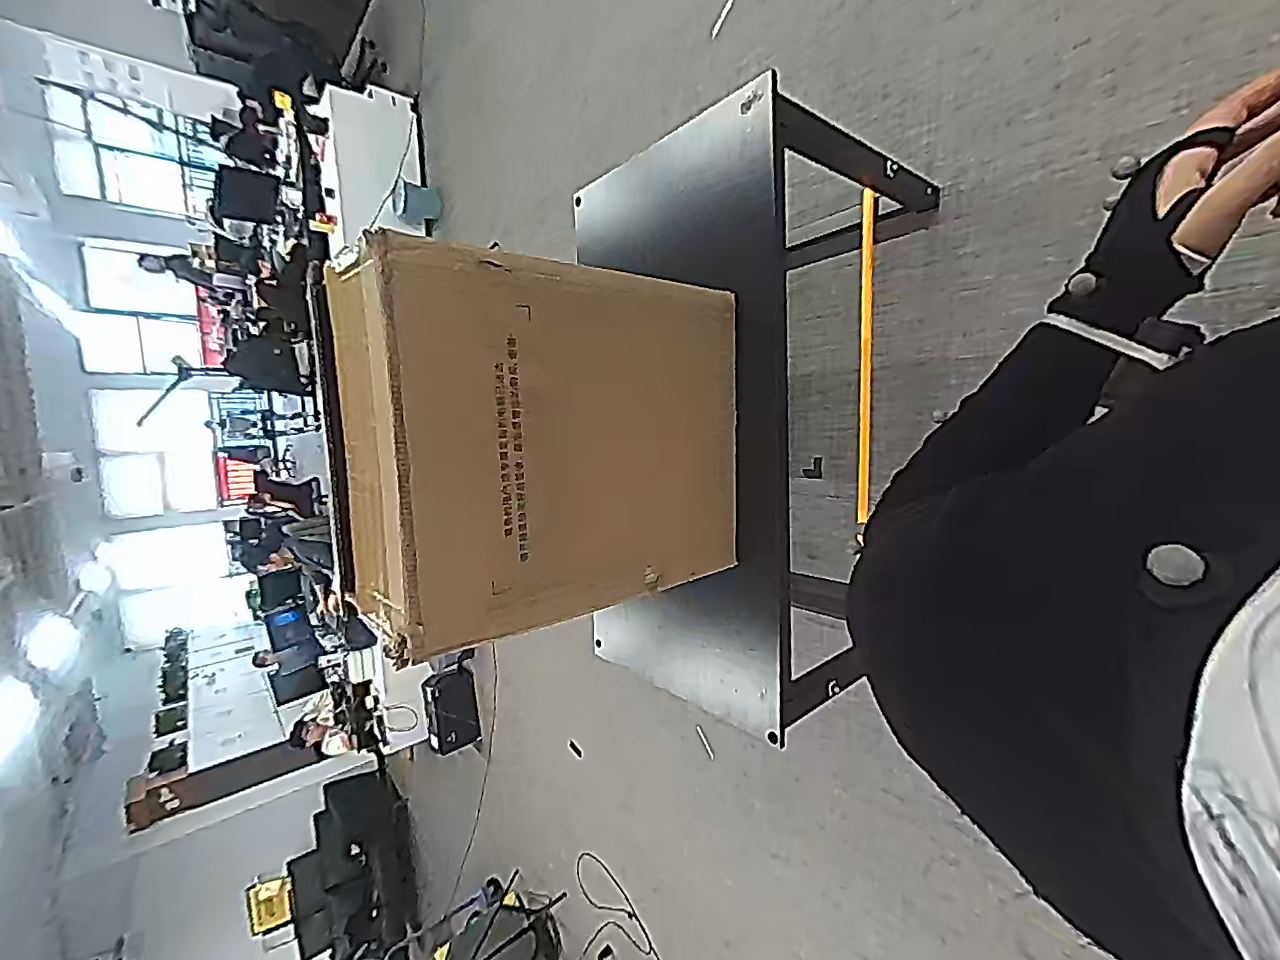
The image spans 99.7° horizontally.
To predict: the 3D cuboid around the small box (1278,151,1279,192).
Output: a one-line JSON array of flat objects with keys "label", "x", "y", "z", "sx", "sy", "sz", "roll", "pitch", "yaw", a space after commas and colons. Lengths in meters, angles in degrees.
[{"label": "small box", "x": 0.485, "y": -0.266, "z": 0.294, "sx": 0.168, "sy": 0.176, "sz": 0.179, "roll": 7, "pitch": 106, "yaw": 46}]
